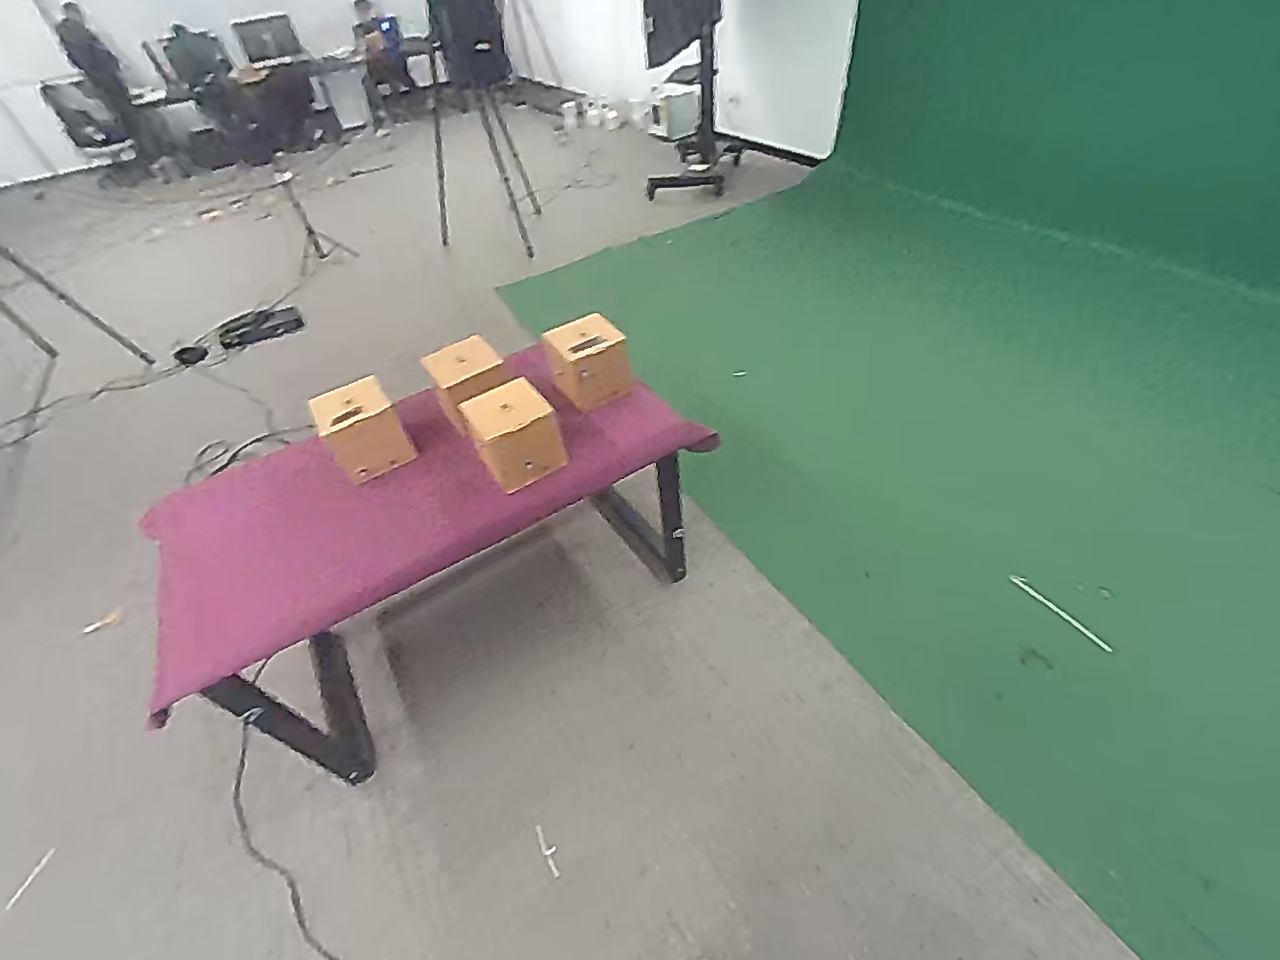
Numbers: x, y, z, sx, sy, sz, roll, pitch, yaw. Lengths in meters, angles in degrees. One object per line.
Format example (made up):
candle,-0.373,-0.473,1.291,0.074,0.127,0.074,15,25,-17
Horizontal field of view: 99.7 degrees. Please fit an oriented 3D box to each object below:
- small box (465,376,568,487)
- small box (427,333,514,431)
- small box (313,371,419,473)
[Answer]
small box,-0.290,-0.115,1.288,0.168,0.176,0.179,-28,49,-19
small box,-0.441,-0.261,1.447,0.168,0.176,0.179,-29,51,-19
small box,-0.681,-0.138,1.356,0.168,0.176,0.179,-28,49,-19
